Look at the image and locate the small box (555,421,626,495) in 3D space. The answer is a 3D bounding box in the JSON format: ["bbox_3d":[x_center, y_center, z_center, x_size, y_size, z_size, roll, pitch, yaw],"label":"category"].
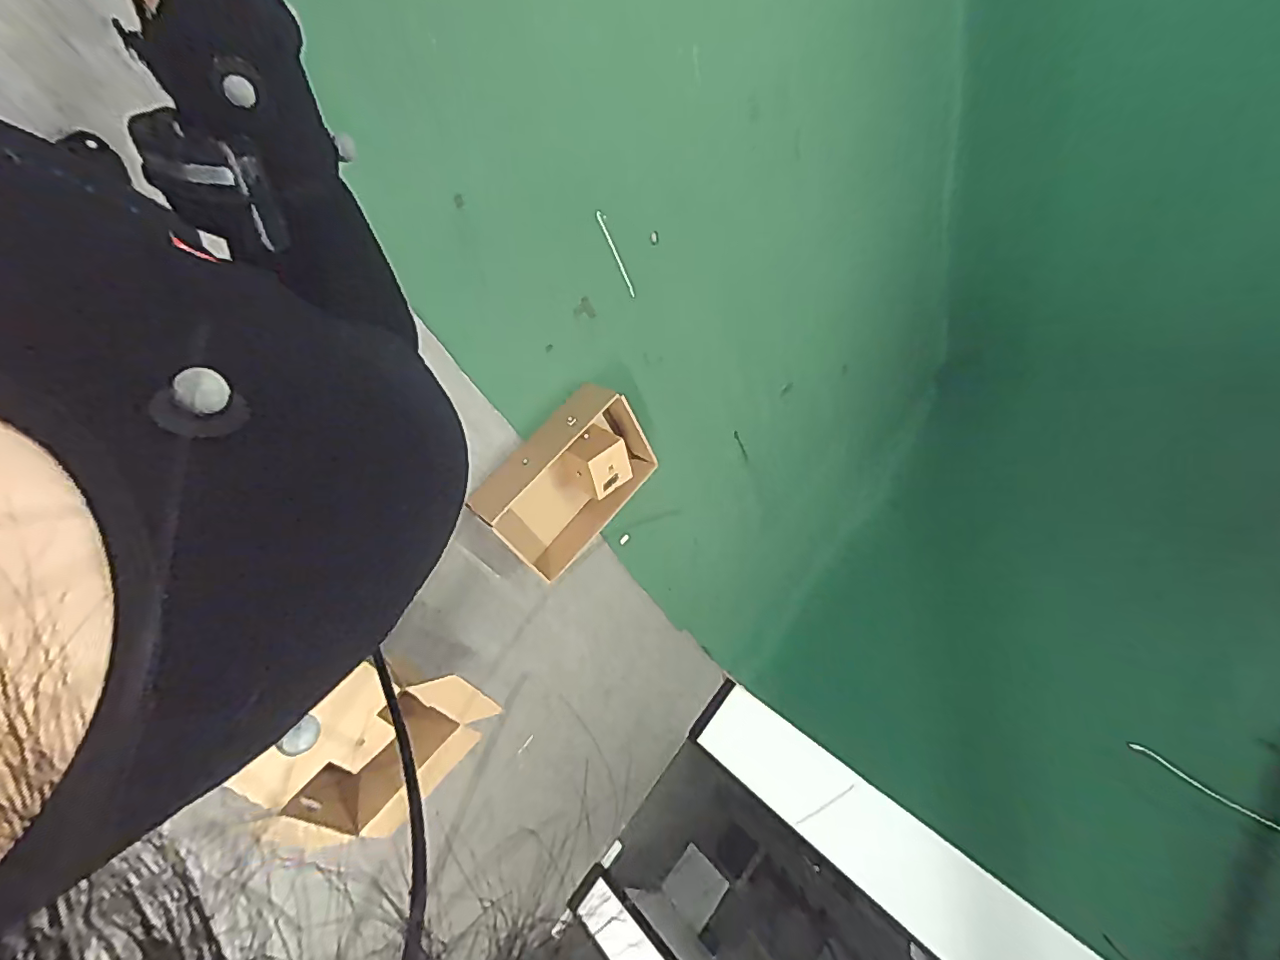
[{"bbox_3d":[-0.176,-0.083,1.924,0.168,0.176,0.179,-36,135,-27],"label":"small box"}]
